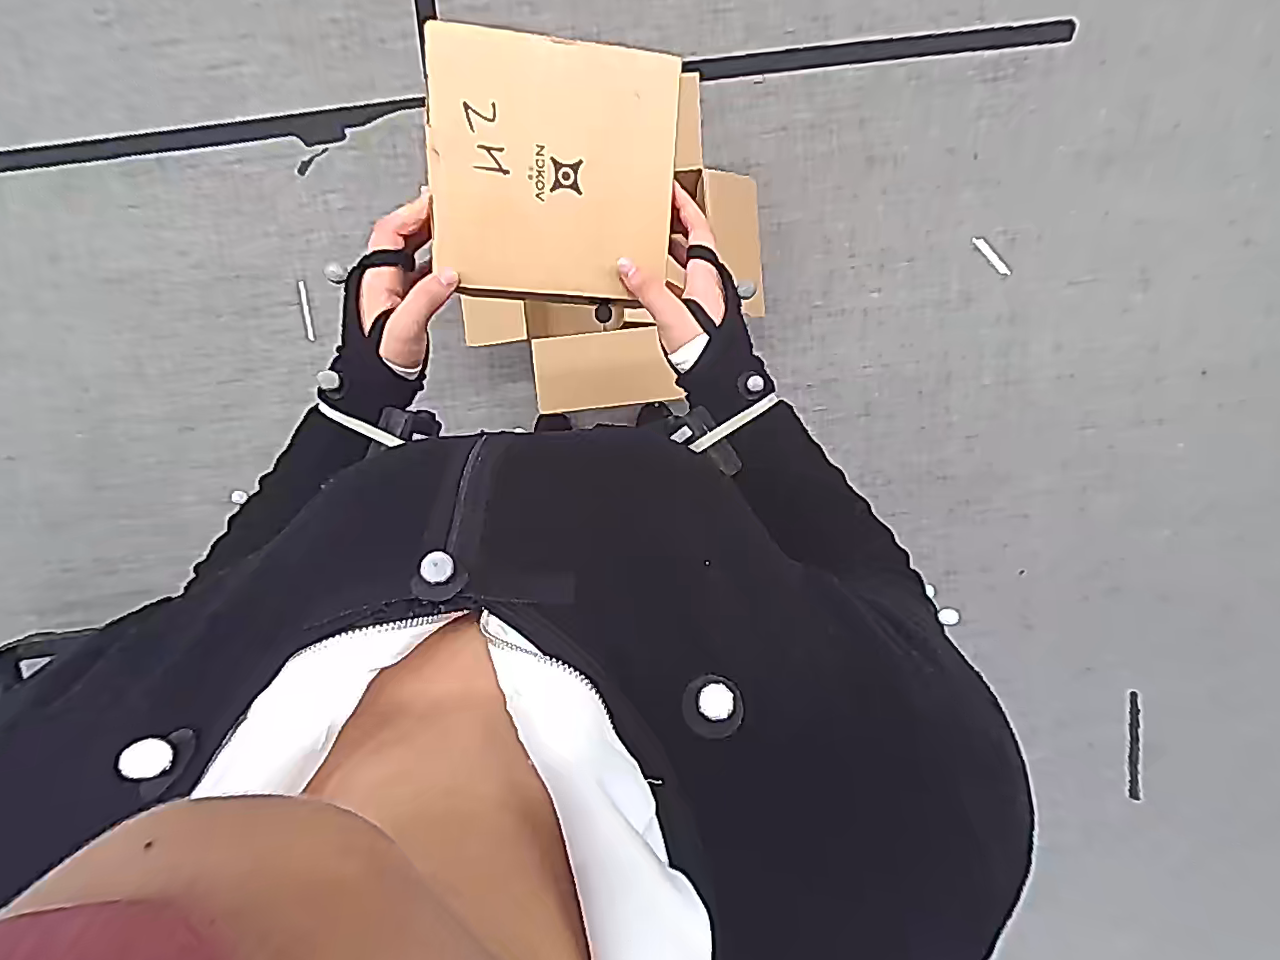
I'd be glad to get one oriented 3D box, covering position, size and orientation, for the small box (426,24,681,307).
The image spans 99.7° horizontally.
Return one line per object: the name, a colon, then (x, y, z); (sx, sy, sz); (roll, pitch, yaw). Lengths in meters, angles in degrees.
small box: (-0.073, -0.242, 0.466); (0.179, 0.176, 0.168); (2, 105, -8)
